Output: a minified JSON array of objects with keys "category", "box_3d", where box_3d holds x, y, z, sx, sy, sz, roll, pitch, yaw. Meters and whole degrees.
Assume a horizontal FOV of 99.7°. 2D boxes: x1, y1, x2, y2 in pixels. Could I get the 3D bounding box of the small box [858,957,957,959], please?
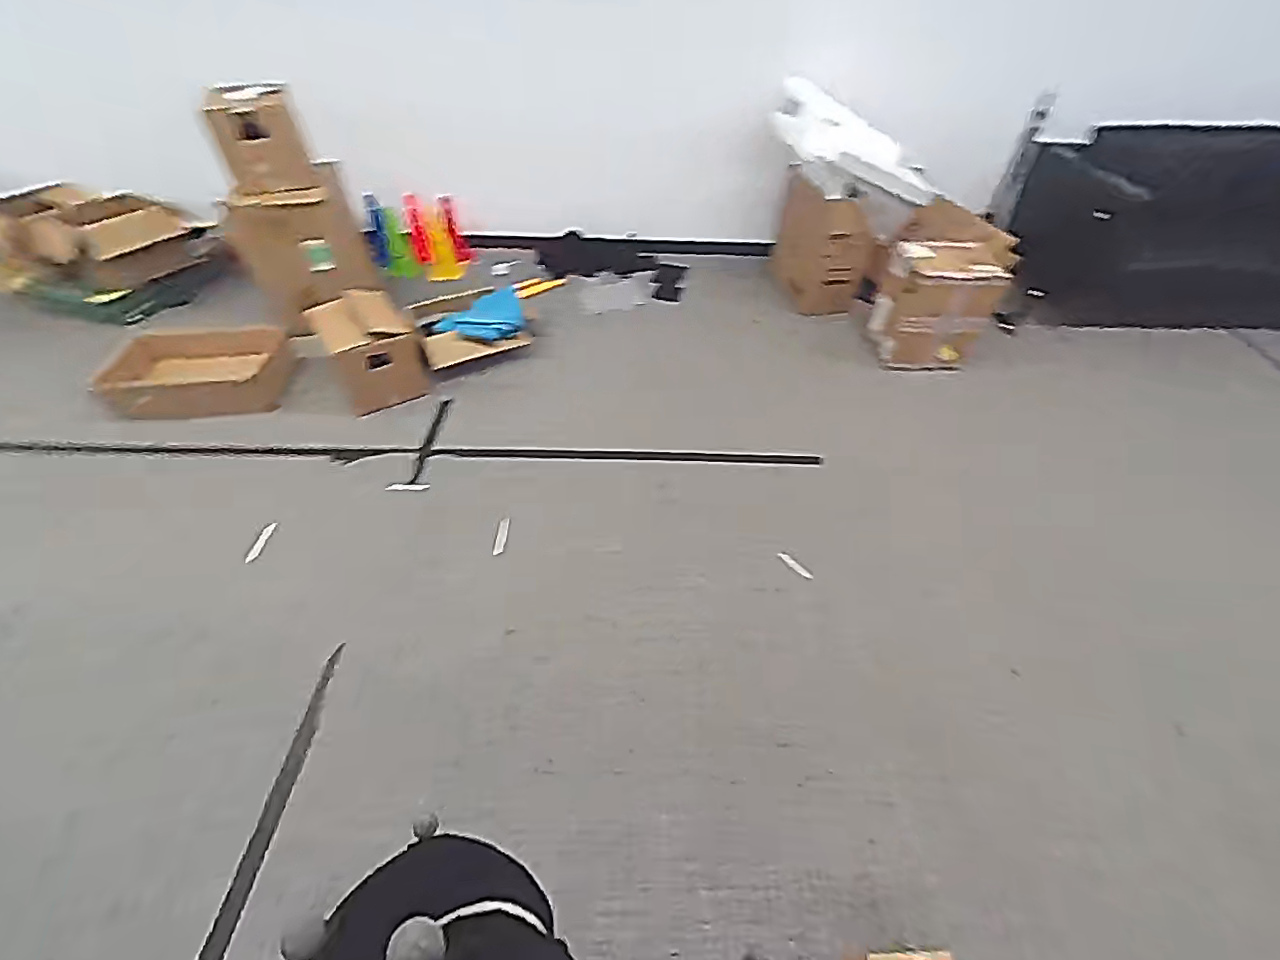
[{"category":"small box","box_3d":[0.517,1.018,1.016,0.168,0.176,0.179,1,45,-1]}]
